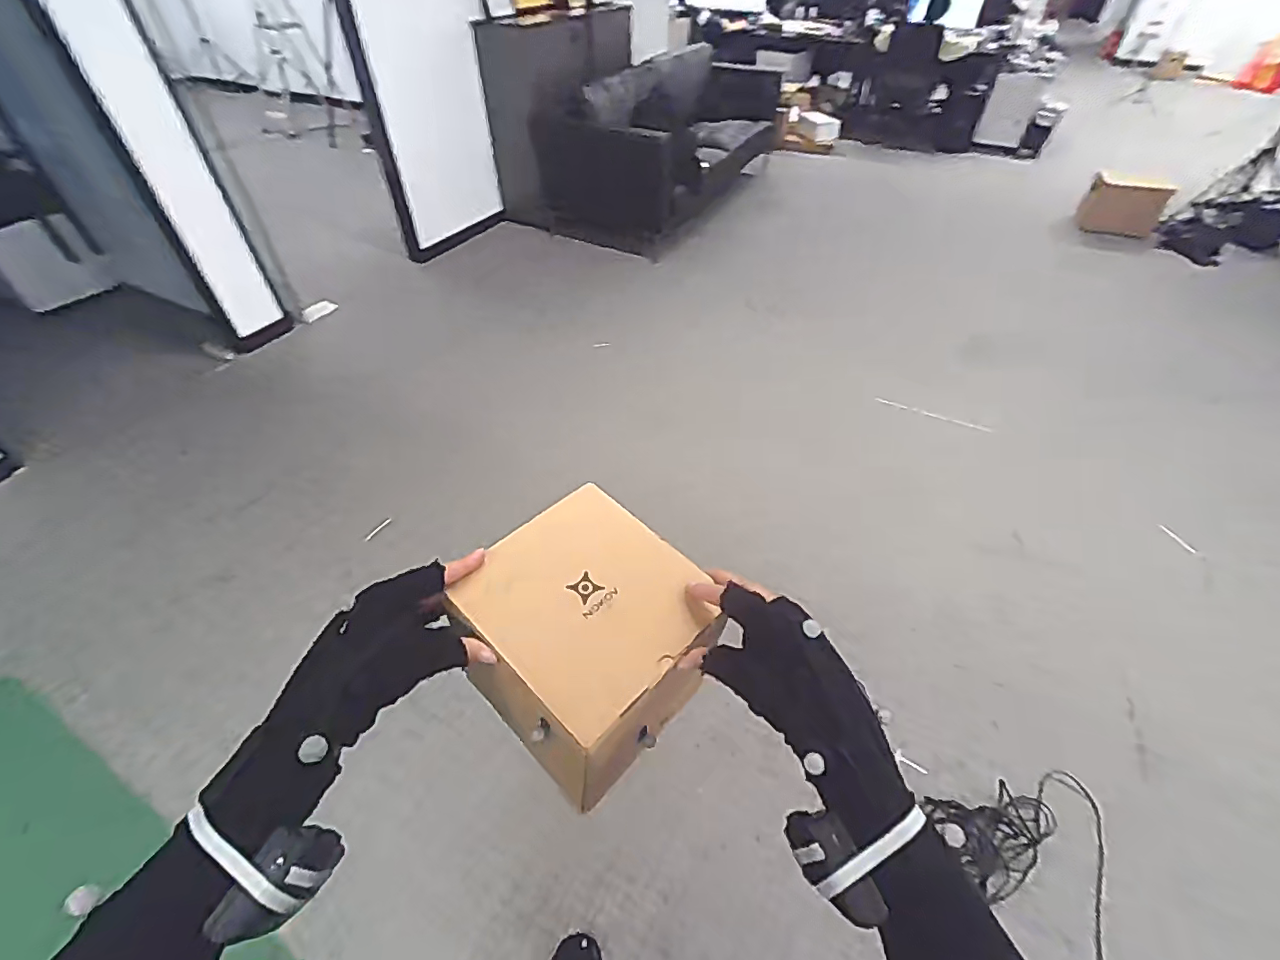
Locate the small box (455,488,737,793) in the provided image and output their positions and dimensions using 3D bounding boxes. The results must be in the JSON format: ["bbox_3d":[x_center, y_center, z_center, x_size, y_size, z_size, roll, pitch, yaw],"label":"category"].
[{"bbox_3d":[-0.044,0.147,0.499,0.179,0.176,0.168,38,53,25],"label":"small box"}]
